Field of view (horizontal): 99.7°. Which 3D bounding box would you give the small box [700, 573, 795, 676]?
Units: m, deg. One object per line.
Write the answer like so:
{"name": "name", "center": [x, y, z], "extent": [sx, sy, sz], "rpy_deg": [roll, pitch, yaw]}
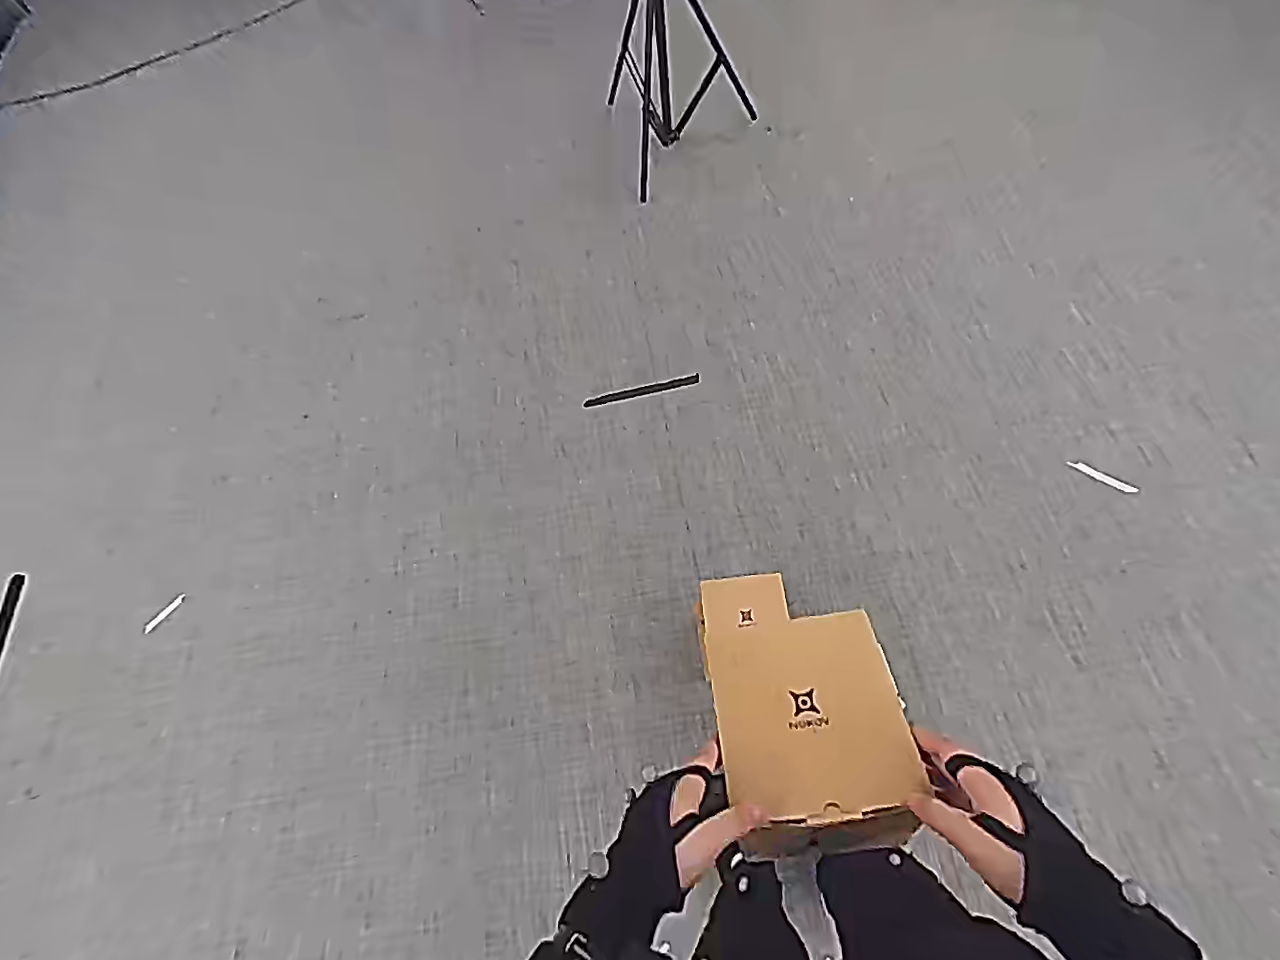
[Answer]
{"name": "small box", "center": [0.215, 0.304, 1.124], "extent": [0.168, 0.176, 0.179], "rpy_deg": [-7, 66, 5]}
